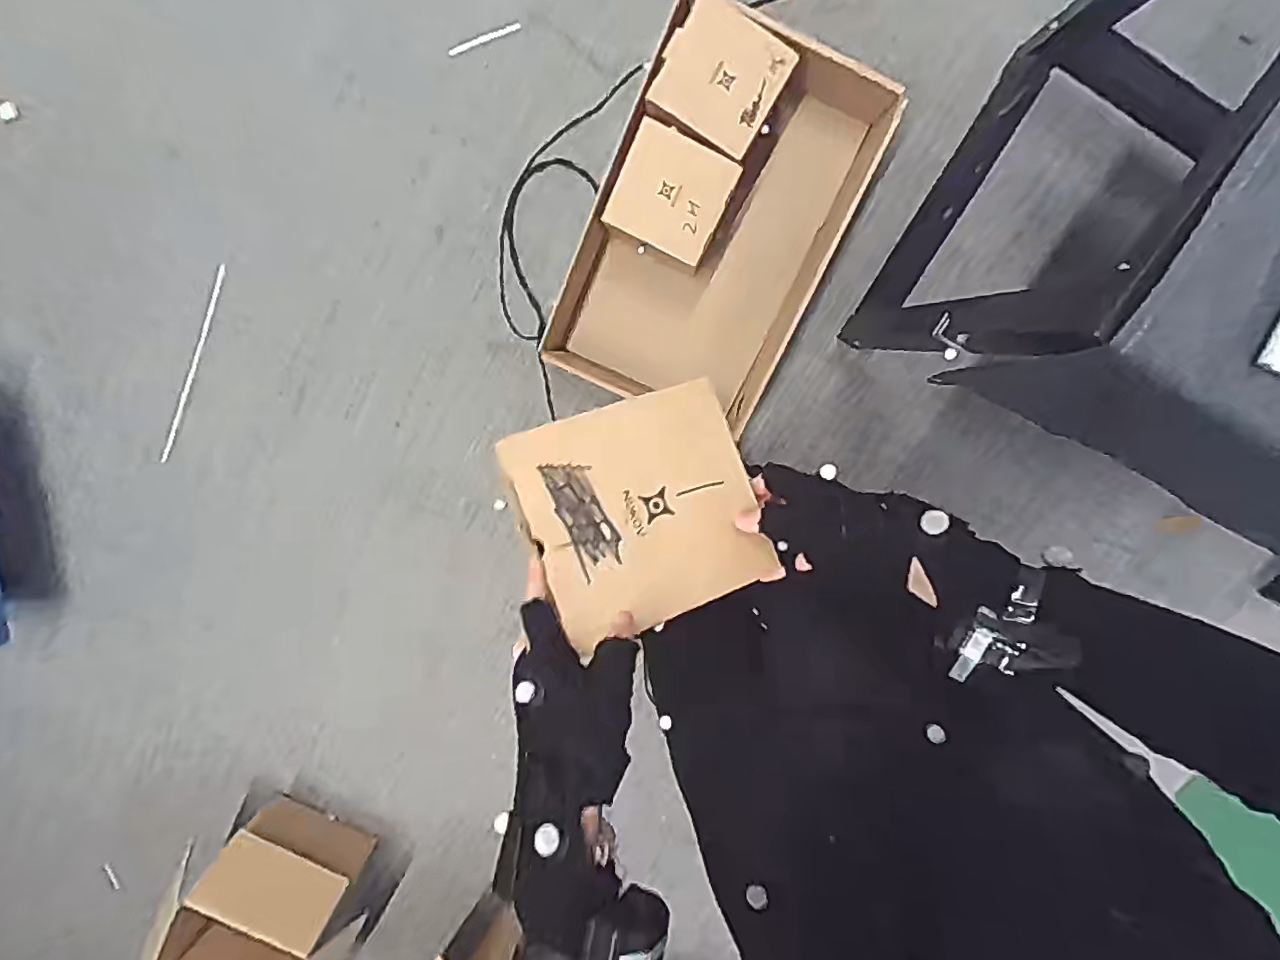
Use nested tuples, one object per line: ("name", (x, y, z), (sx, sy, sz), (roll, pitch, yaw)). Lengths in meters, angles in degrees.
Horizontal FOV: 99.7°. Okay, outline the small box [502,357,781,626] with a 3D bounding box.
("small box", (-0.012, 0.014, 0.475), (0.179, 0.176, 0.168), (-17, 87, -16))
